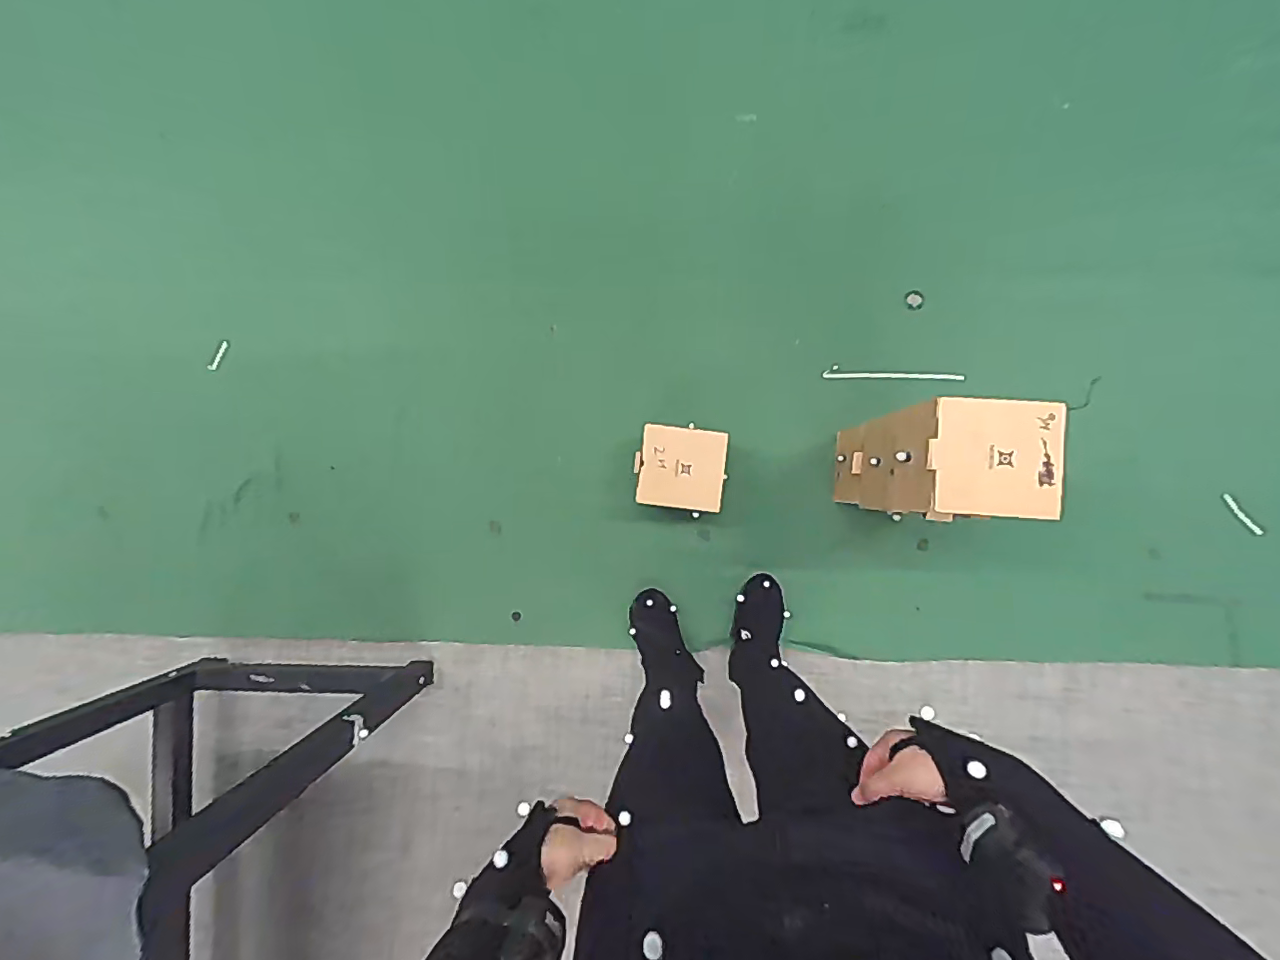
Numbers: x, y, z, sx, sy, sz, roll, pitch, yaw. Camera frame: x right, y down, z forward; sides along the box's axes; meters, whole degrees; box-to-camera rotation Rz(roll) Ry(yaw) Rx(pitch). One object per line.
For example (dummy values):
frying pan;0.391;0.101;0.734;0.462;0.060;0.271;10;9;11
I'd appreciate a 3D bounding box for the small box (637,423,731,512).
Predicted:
small box;0.094;-0.027;1.180;0.179;0.176;0.168;7;90;3

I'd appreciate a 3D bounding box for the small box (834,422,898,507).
small box;0.535;-0.029;1.159;0.179;0.176;0.168;5;91;3

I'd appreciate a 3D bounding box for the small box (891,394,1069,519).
small box;0.506;-0.031;0.831;0.179;0.176;0.168;4;90;4
